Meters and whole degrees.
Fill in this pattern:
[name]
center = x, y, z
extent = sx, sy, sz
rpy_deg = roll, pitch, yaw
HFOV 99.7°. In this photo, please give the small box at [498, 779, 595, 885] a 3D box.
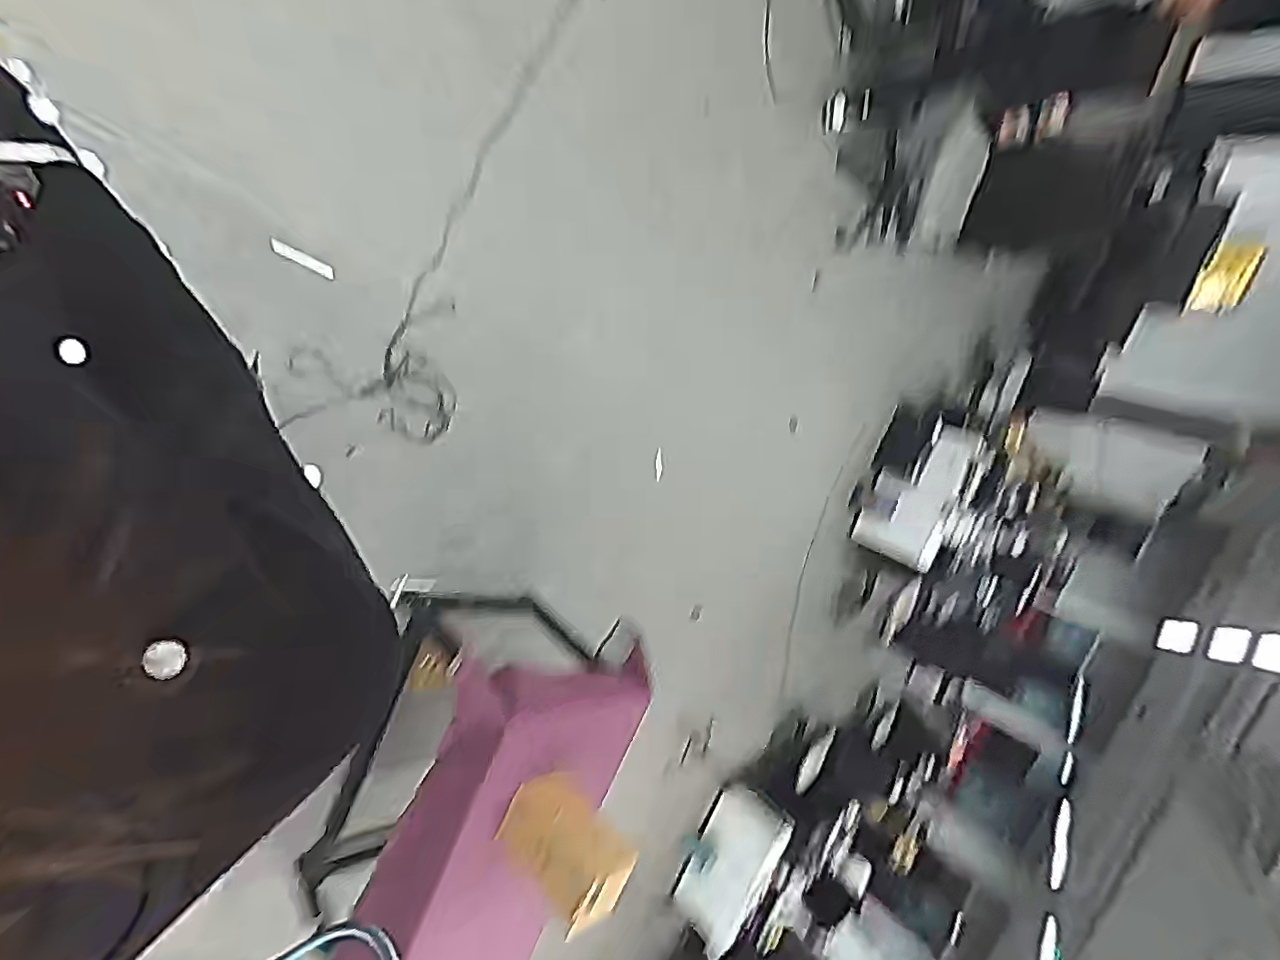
[small box]
center = -0.269, 0.990, 1.542
extent = 0.179, 0.176, 0.168
rpy_deg = 18, 98, -49
